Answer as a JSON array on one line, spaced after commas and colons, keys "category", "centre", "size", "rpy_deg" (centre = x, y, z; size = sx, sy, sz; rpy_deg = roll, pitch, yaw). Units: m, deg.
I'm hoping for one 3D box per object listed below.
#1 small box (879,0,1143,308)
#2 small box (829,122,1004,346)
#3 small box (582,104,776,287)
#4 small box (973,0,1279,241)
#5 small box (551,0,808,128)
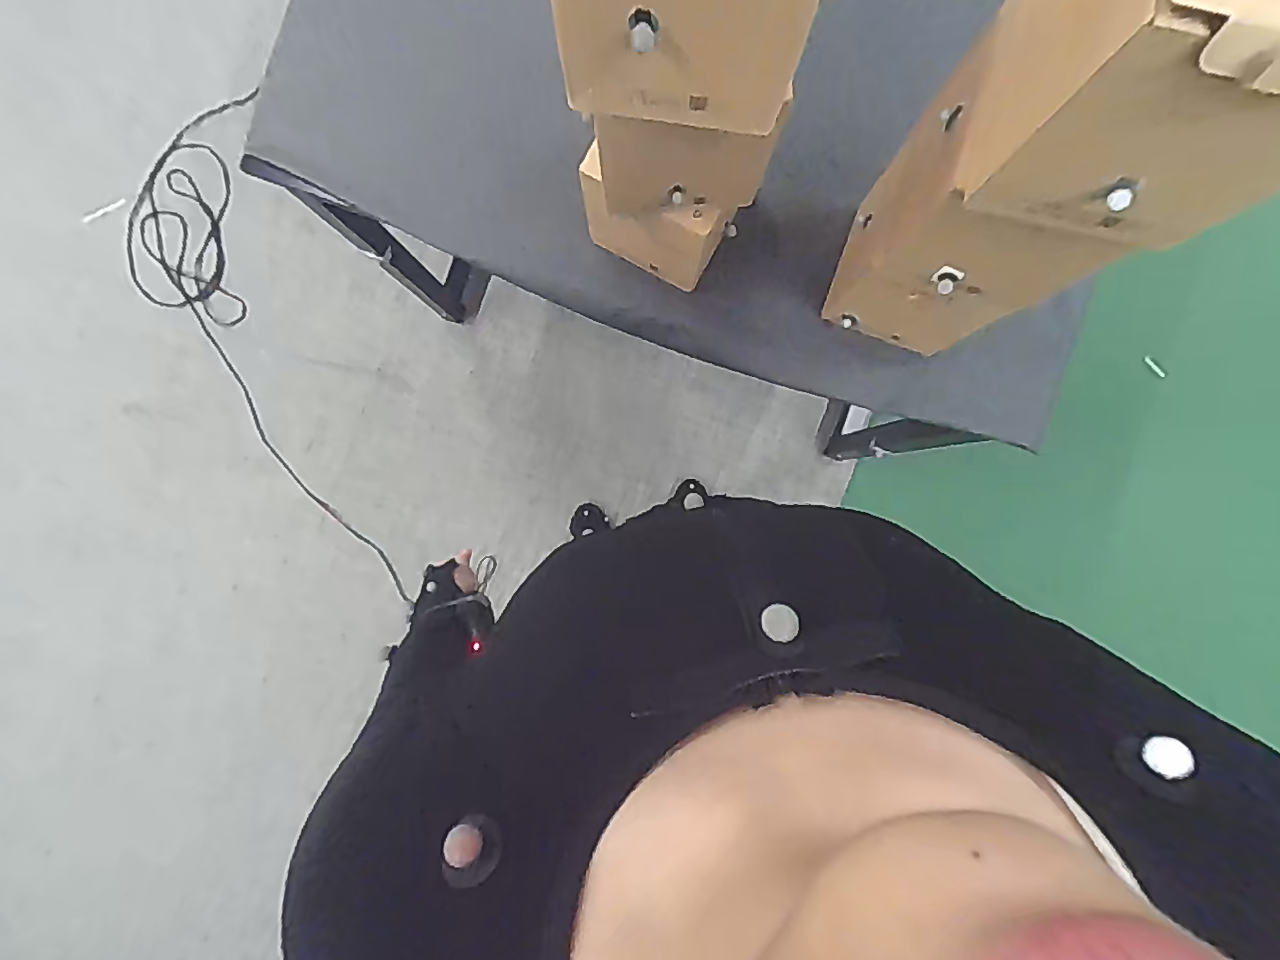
[{"category": "small box", "centre": [0.356, -0.294, 0.518], "size": [0.168, 0.176, 0.179], "rpy_deg": [16, 89, 2]}, {"category": "small box", "centre": [0.358, -0.290, 0.680], "size": [0.168, 0.176, 0.179], "rpy_deg": [20, 87, 1]}, {"category": "small box", "centre": [0.042, -0.384, 0.686], "size": [0.168, 0.176, 0.179], "rpy_deg": [29, 88, 1]}, {"category": "small box", "centre": [0.354, -0.293, 0.352], "size": [0.168, 0.176, 0.179], "rpy_deg": [13, 87, 3]}, {"category": "small box", "centre": [0.034, -0.375, 0.358], "size": [0.168, 0.176, 0.179], "rpy_deg": [8, 89, 0]}]
